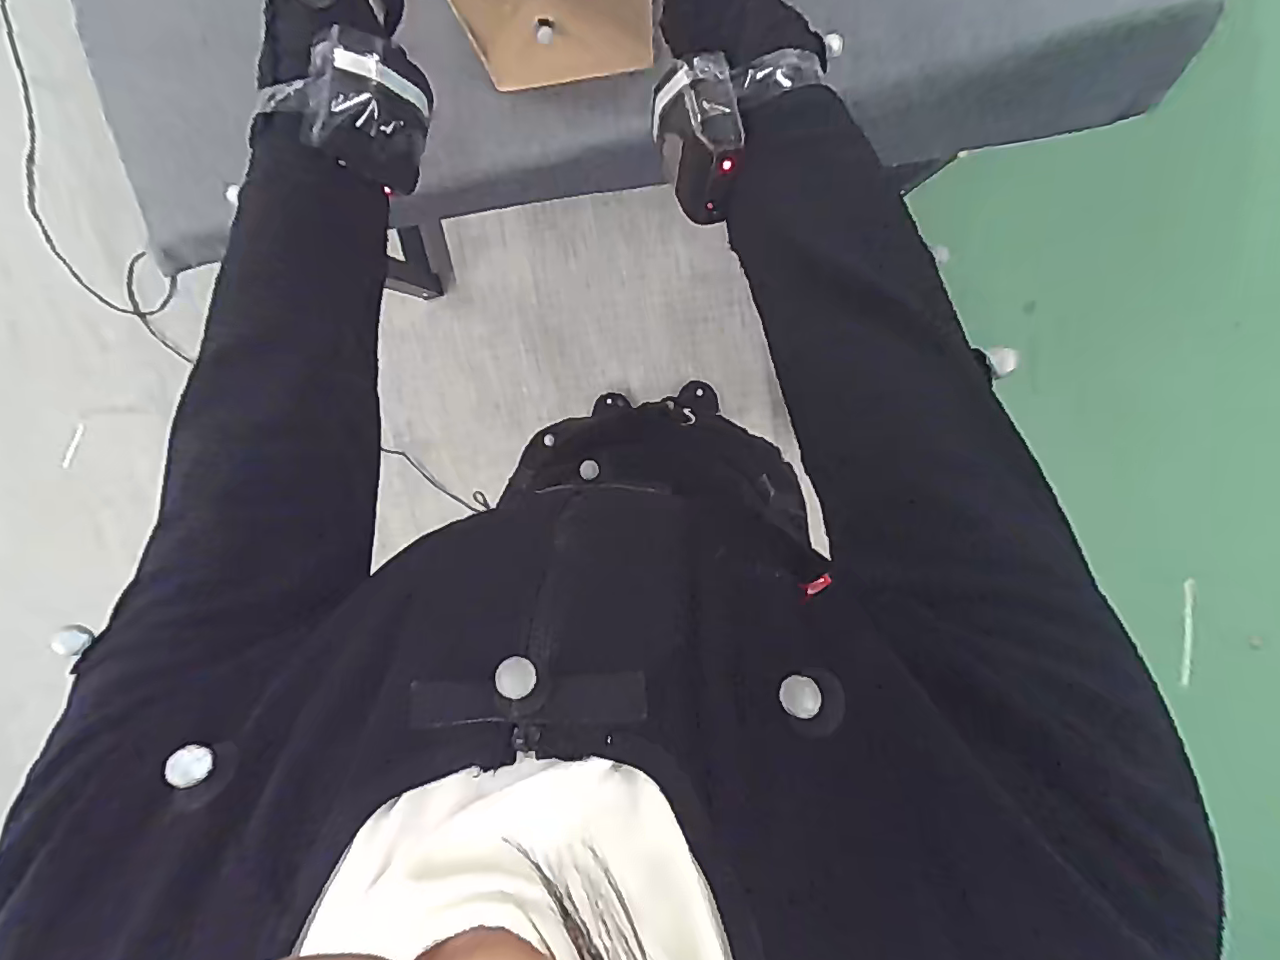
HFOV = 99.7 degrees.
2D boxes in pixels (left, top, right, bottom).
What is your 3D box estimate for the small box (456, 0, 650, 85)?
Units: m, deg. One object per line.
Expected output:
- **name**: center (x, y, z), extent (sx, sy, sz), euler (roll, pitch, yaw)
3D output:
- **small box**: center (-0.087, -0.508, 0.507), extent (0.179, 0.176, 0.168), euler (-6, 101, 3)
